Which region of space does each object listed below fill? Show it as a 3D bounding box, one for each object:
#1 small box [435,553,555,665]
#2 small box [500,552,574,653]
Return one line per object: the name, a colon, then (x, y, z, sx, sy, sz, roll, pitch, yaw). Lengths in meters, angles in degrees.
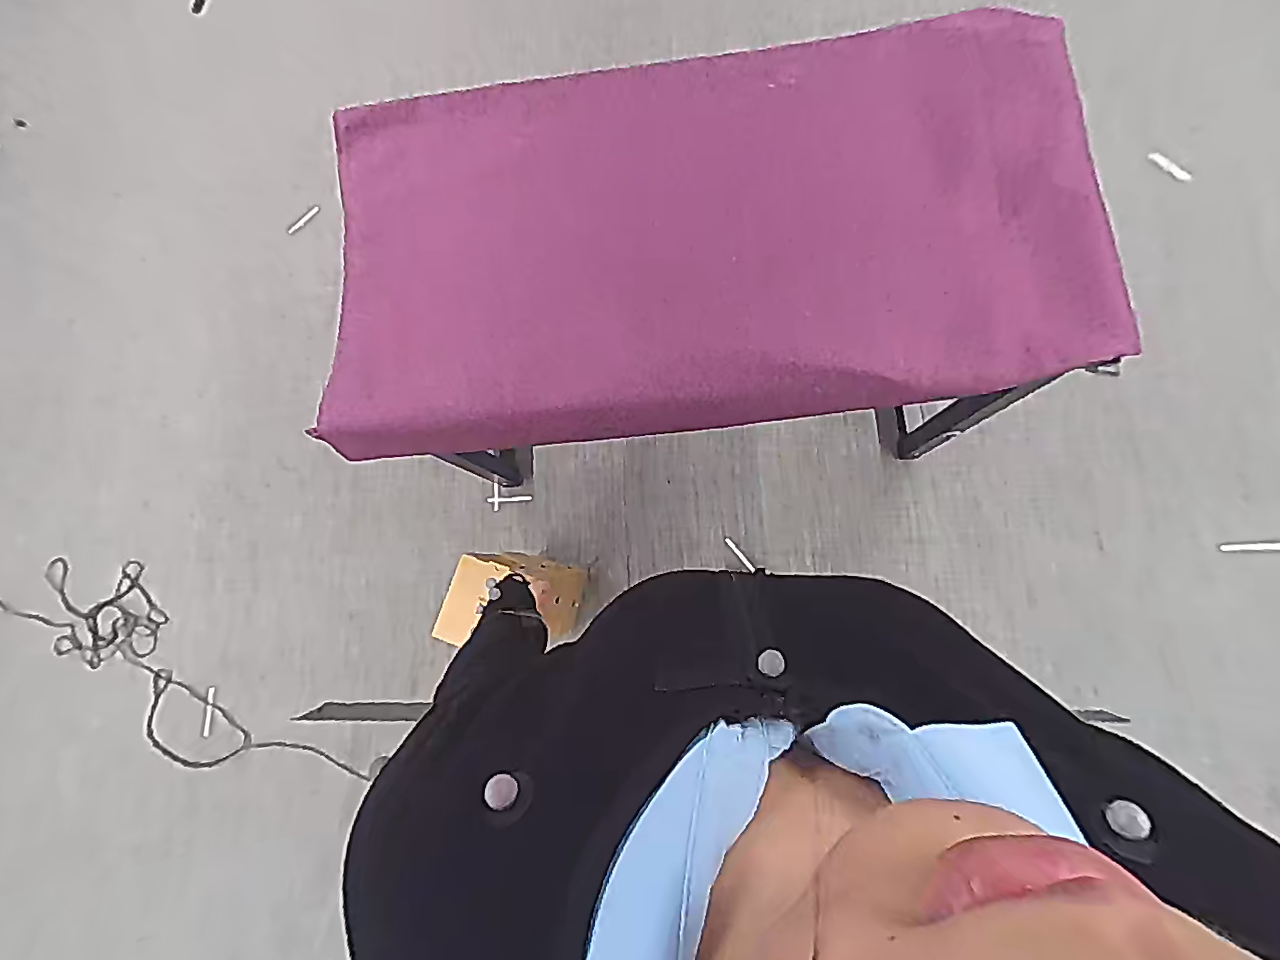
small box: (-0.295, 0.266, 1.142, 0.168, 0.176, 0.179, 18, 82, 9)
small box: (-0.273, 0.288, 1.302, 0.168, 0.176, 0.179, 25, 85, 10)
